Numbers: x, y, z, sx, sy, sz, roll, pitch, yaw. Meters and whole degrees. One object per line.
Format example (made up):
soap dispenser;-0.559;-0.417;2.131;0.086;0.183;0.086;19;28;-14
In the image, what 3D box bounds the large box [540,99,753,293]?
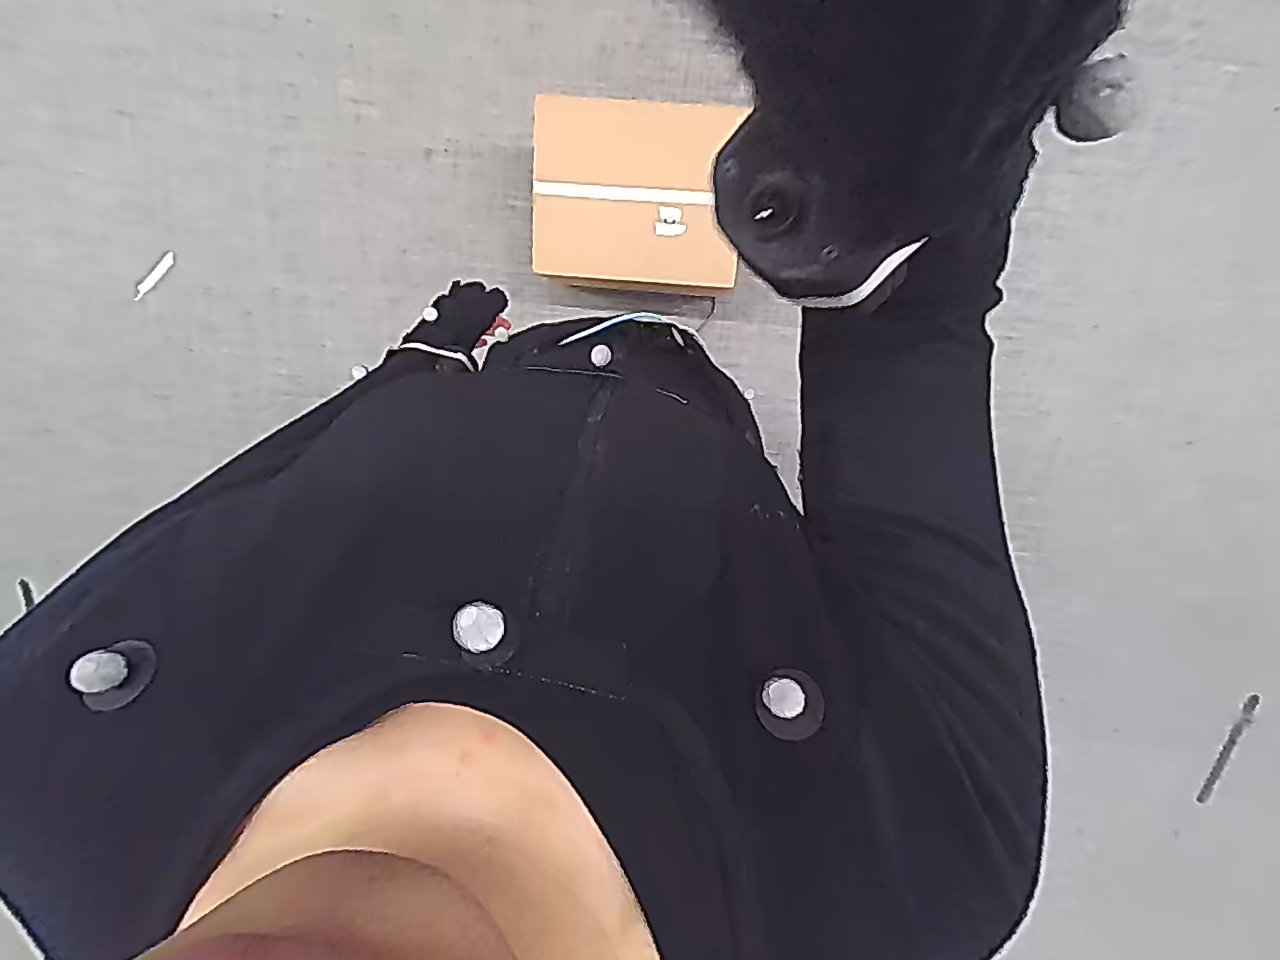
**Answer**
large box;0.008;-0.593;1.191;0.408;0.320;0.320;4;107;1
